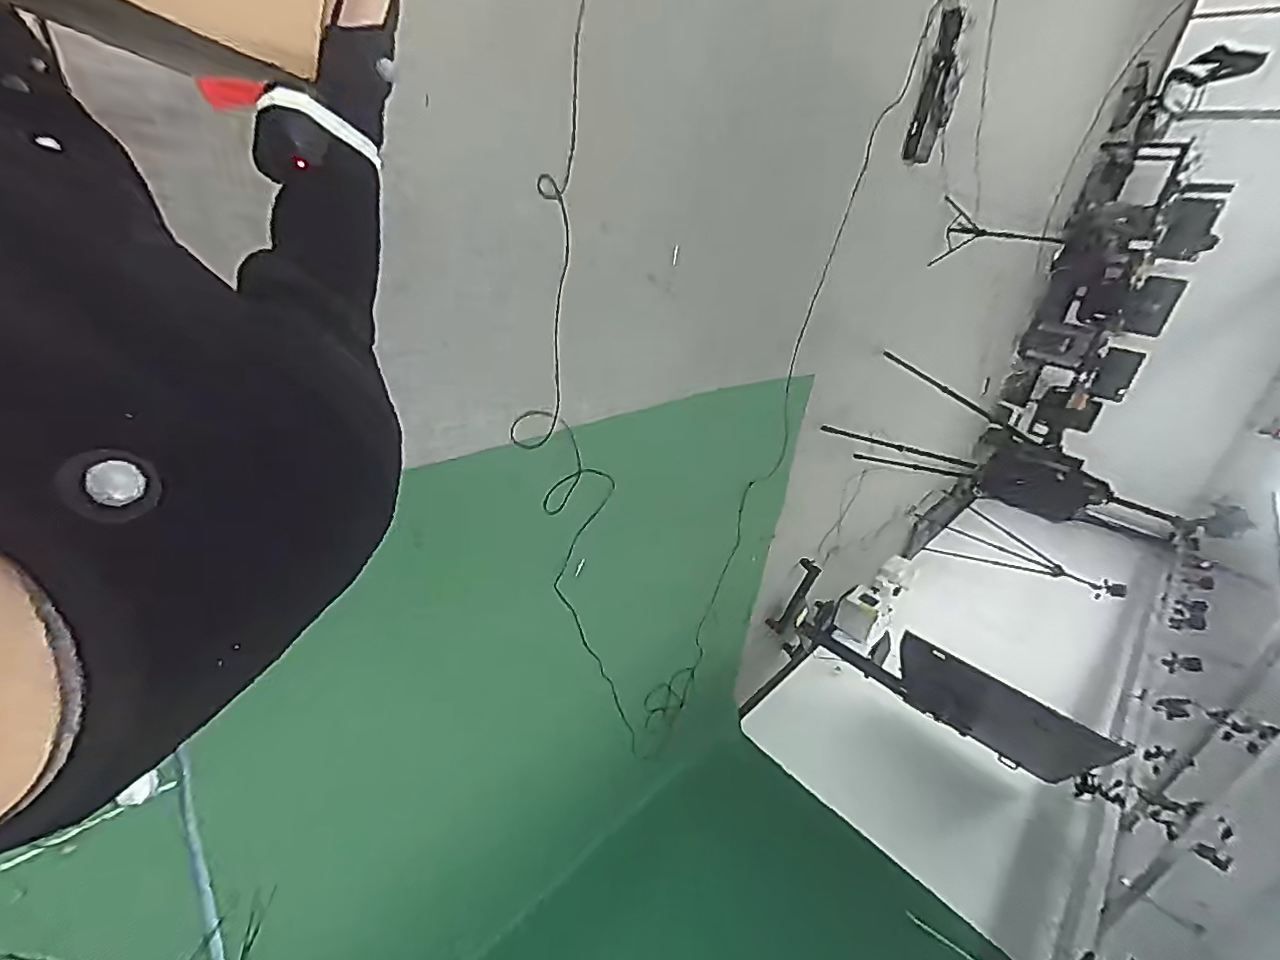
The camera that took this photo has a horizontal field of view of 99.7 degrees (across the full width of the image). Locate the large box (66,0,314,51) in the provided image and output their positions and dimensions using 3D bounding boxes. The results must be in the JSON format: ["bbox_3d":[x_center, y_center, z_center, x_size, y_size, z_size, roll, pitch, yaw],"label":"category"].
[{"bbox_3d":[-0.464,-0.528,0.324,0.408,0.320,0.320,-8,120,-50],"label":"large box"}]
